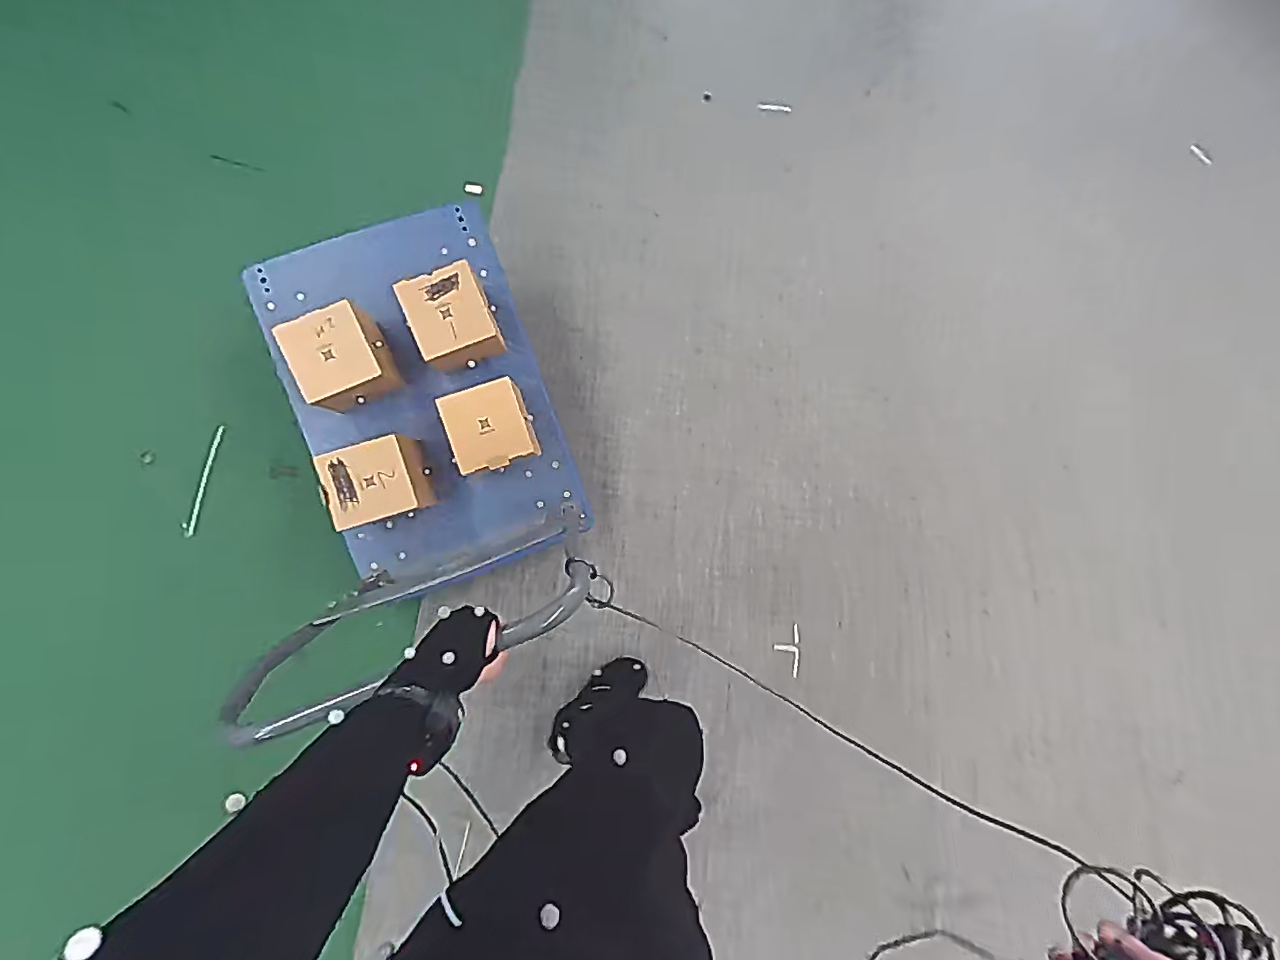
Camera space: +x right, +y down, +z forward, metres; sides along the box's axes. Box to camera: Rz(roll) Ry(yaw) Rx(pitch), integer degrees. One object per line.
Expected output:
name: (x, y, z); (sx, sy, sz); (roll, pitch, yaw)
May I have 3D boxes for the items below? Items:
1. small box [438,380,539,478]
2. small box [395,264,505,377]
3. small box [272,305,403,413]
small box: (-0.339, -0.109, 1.238); (0.168, 0.176, 0.179); (-19, 93, -6)
small box: (-0.421, -0.353, 1.227); (0.168, 0.176, 0.179); (-22, 93, -5)
small box: (-0.658, -0.257, 1.201); (0.168, 0.176, 0.179); (-24, 92, -6)
